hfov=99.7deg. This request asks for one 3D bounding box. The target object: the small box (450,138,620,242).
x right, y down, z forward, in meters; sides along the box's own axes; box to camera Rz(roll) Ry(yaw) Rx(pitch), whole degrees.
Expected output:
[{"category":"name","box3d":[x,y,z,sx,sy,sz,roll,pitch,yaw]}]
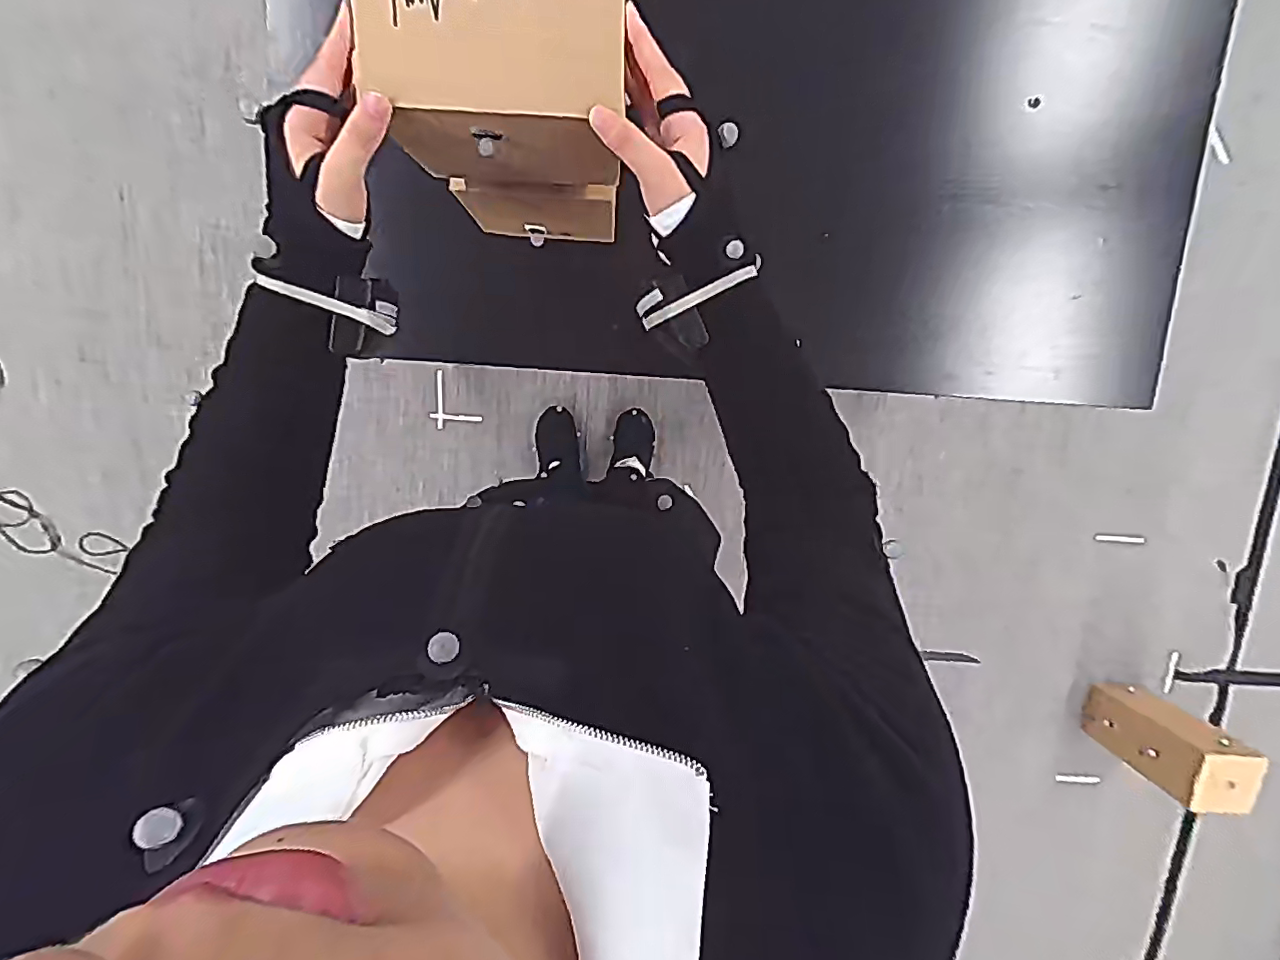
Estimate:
[{"category":"small box","box3d":[-0.107,-0.386,0.607,0.168,0.176,0.179,2,100,-2]}]

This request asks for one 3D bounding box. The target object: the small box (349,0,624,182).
[{"category":"small box","box3d":[-0.102,-0.345,0.418,0.179,0.176,0.168,0,104,-4]}]

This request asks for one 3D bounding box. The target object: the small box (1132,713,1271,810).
[{"category":"small box","box3d":[1.499,0.749,1.454,0.179,0.176,0.168,5,100,-3]}]

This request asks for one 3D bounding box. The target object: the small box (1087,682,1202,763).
[{"category":"small box","box3d":[1.499,0.724,1.618,0.179,0.176,0.168,4,100,-3]}]
